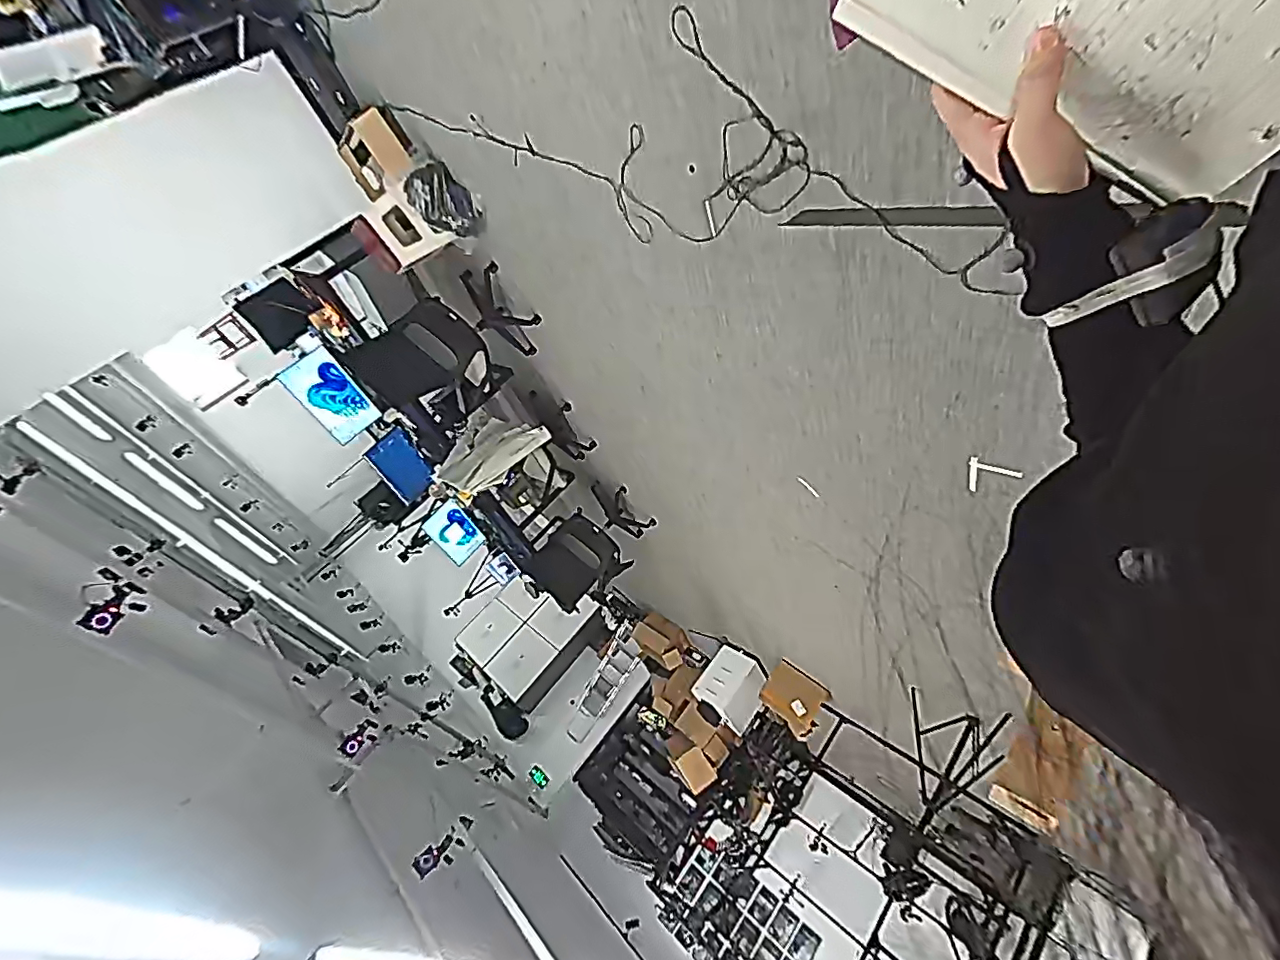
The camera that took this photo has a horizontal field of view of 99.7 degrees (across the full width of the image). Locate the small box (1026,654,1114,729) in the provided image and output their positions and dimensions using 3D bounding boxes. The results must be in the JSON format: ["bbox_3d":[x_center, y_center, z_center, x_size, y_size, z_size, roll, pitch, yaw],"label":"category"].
[{"bbox_3d":[1.405,0.702,1.766,0.168,0.176,0.179,27,153,36],"label":"small box"}]

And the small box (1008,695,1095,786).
[{"bbox_3d":[1.303,0.819,1.713,0.168,0.176,0.179,26,151,39],"label":"small box"}]
